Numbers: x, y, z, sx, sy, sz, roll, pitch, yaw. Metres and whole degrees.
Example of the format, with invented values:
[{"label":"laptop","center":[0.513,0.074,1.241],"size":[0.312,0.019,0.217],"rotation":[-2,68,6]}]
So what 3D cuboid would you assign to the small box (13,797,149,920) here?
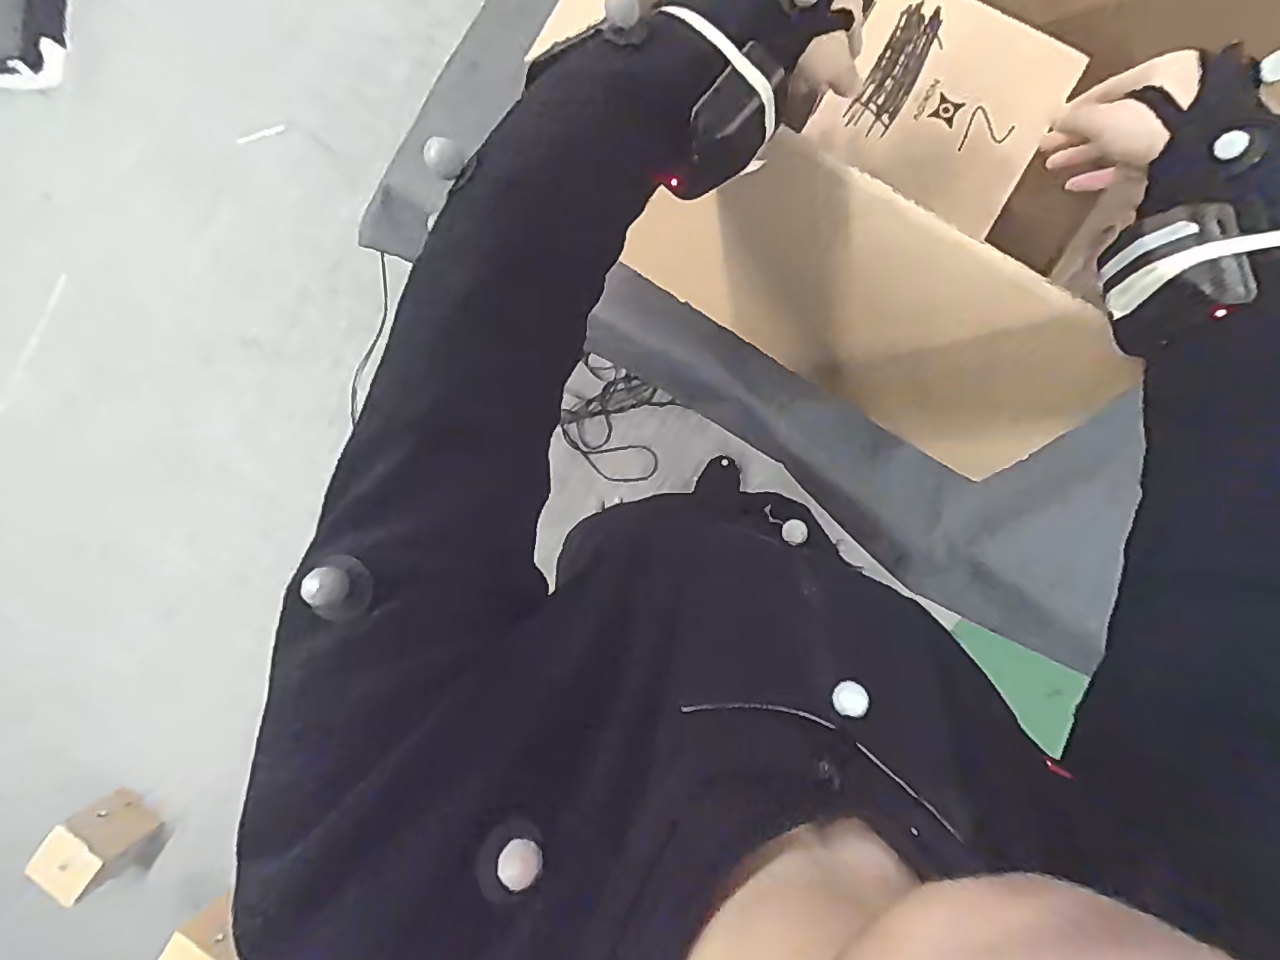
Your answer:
[{"label":"small box","center":[-1.497,1.012,1.463],"size":[0.168,0.176,0.179],"rotation":[38,95,4]}]

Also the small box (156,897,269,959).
[{"label":"small box","center":[-1.152,1.269,1.439],"size":[0.179,0.176,0.168],"rotation":[34,94,3]}]
